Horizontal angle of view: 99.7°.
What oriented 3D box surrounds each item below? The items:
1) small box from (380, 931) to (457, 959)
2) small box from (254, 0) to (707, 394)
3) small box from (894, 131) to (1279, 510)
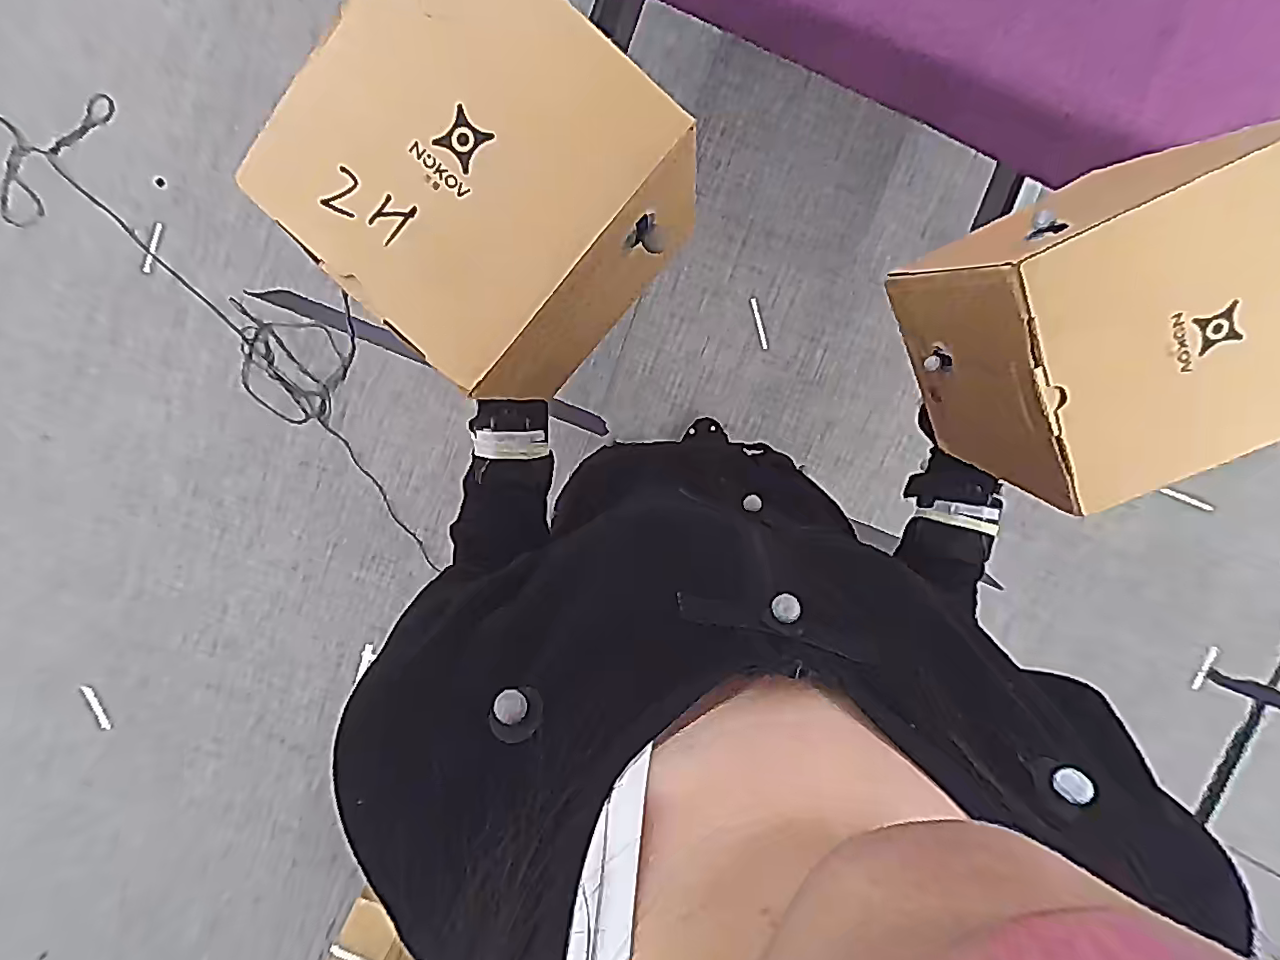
[{"bbox_3d":[-0.547,1.199,1.237,0.179,0.176,0.168,29,95,-2],"label":"small box"},{"bbox_3d":[-0.078,-0.174,0.346,0.168,0.176,0.179,42,100,-1],"label":"small box"},{"bbox_3d":[0.316,-0.110,0.379,0.179,0.176,0.168,-25,107,9],"label":"small box"}]
